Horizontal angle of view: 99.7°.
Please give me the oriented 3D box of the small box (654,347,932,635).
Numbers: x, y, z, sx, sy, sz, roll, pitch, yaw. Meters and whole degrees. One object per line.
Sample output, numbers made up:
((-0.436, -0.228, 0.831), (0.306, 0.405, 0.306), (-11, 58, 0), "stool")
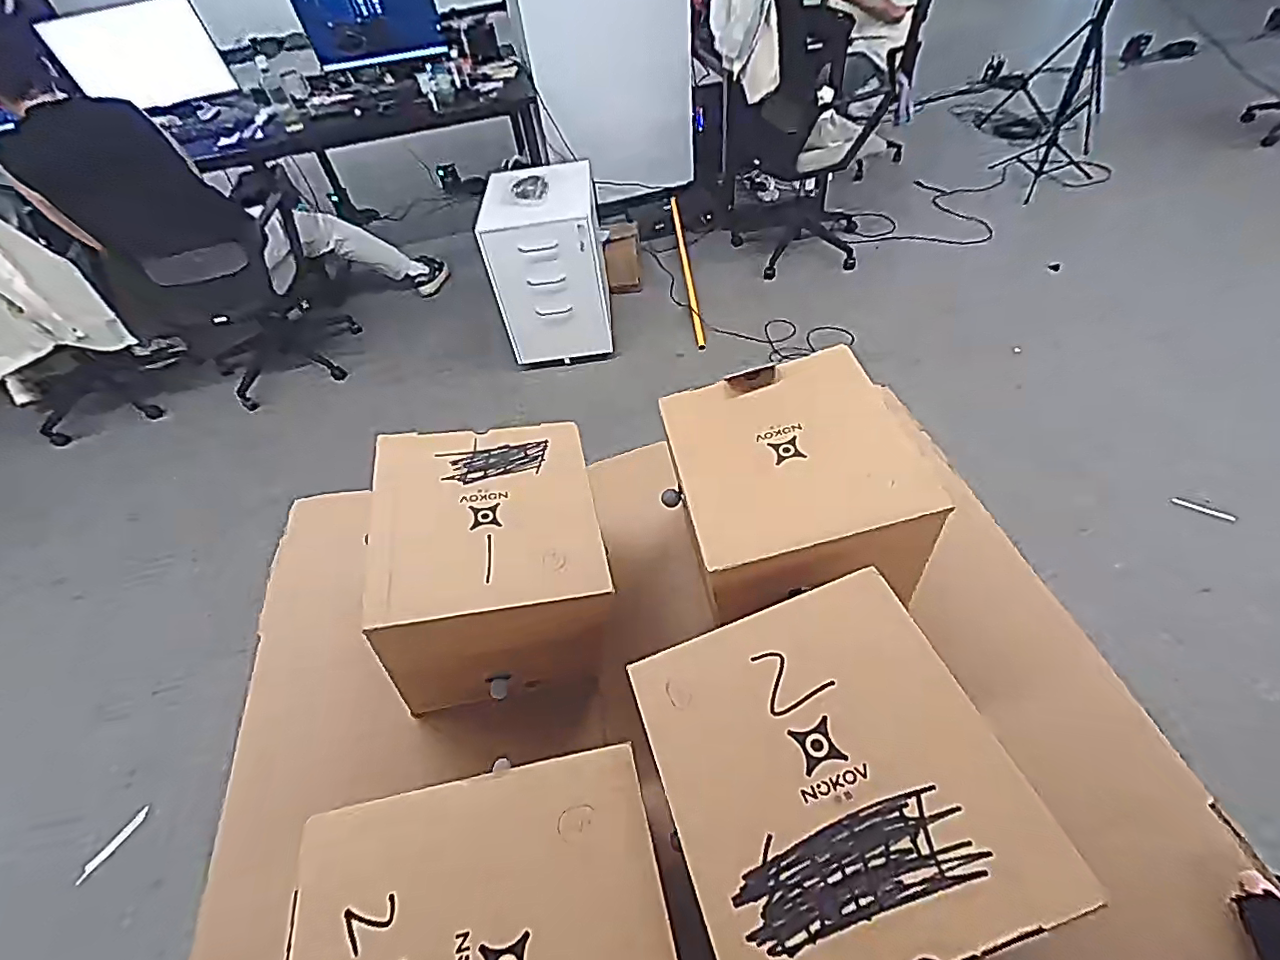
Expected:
((0.122, 0.020, 0.477), (0.168, 0.176, 0.179), (-16, 50, 3), "small box")
